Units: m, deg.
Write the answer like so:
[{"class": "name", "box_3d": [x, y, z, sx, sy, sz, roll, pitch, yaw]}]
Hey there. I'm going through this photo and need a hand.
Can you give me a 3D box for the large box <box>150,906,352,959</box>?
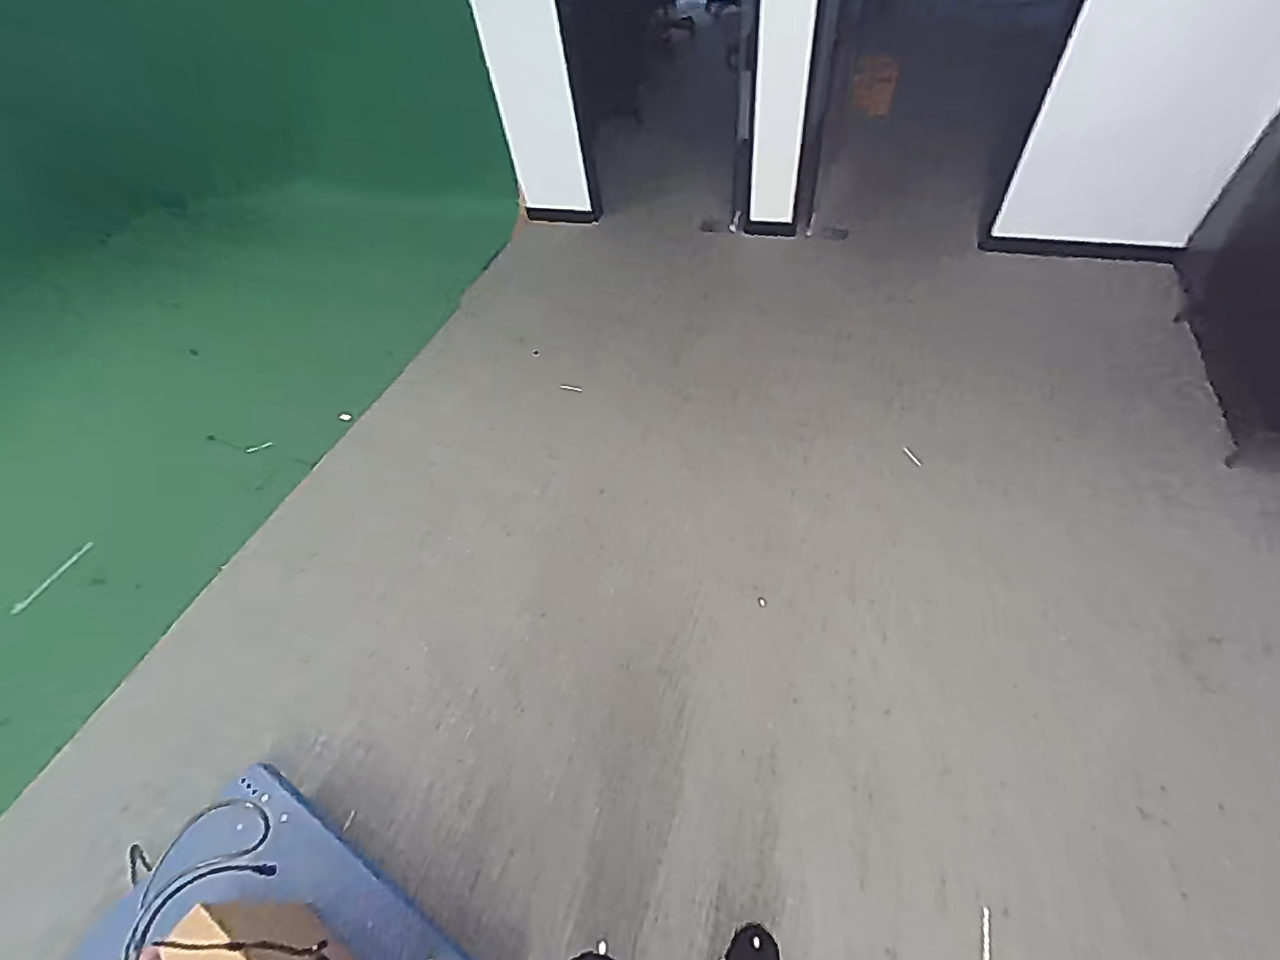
[{"class": "large box", "box_3d": [-0.664, 1.007, 0.910, 0.408, 0.320, 0.320, 22, 57, 24]}]
